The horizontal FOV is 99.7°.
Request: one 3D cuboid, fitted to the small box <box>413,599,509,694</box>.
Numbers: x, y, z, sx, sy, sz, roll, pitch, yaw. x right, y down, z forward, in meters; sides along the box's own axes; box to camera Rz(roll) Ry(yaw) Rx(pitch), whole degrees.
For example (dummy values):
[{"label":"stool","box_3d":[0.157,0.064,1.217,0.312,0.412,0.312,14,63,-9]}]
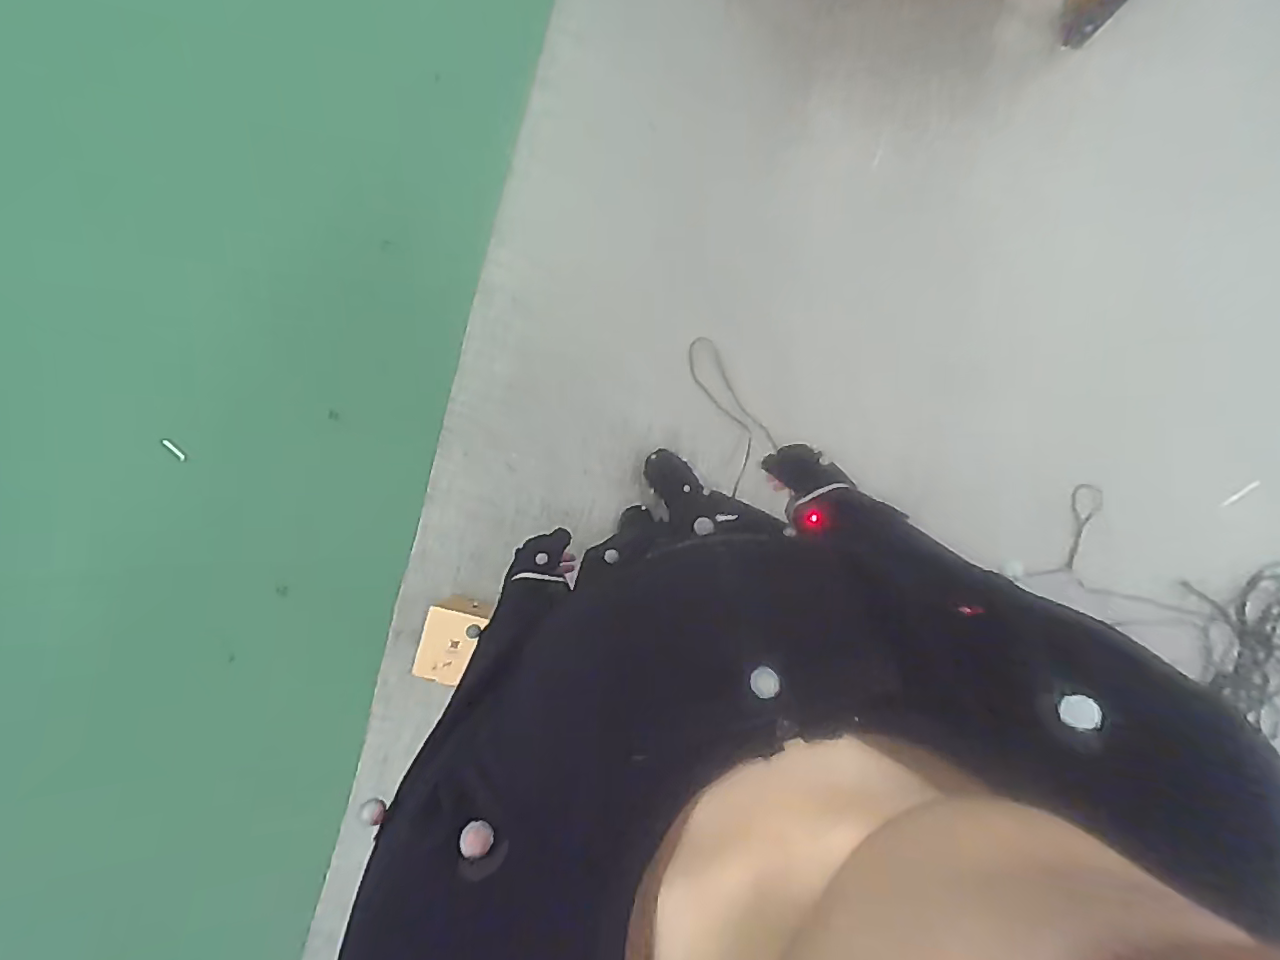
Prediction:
[{"label":"small box","box_3d":[-0.446,0.413,1.378,0.168,0.176,0.179,14,87,0]}]
